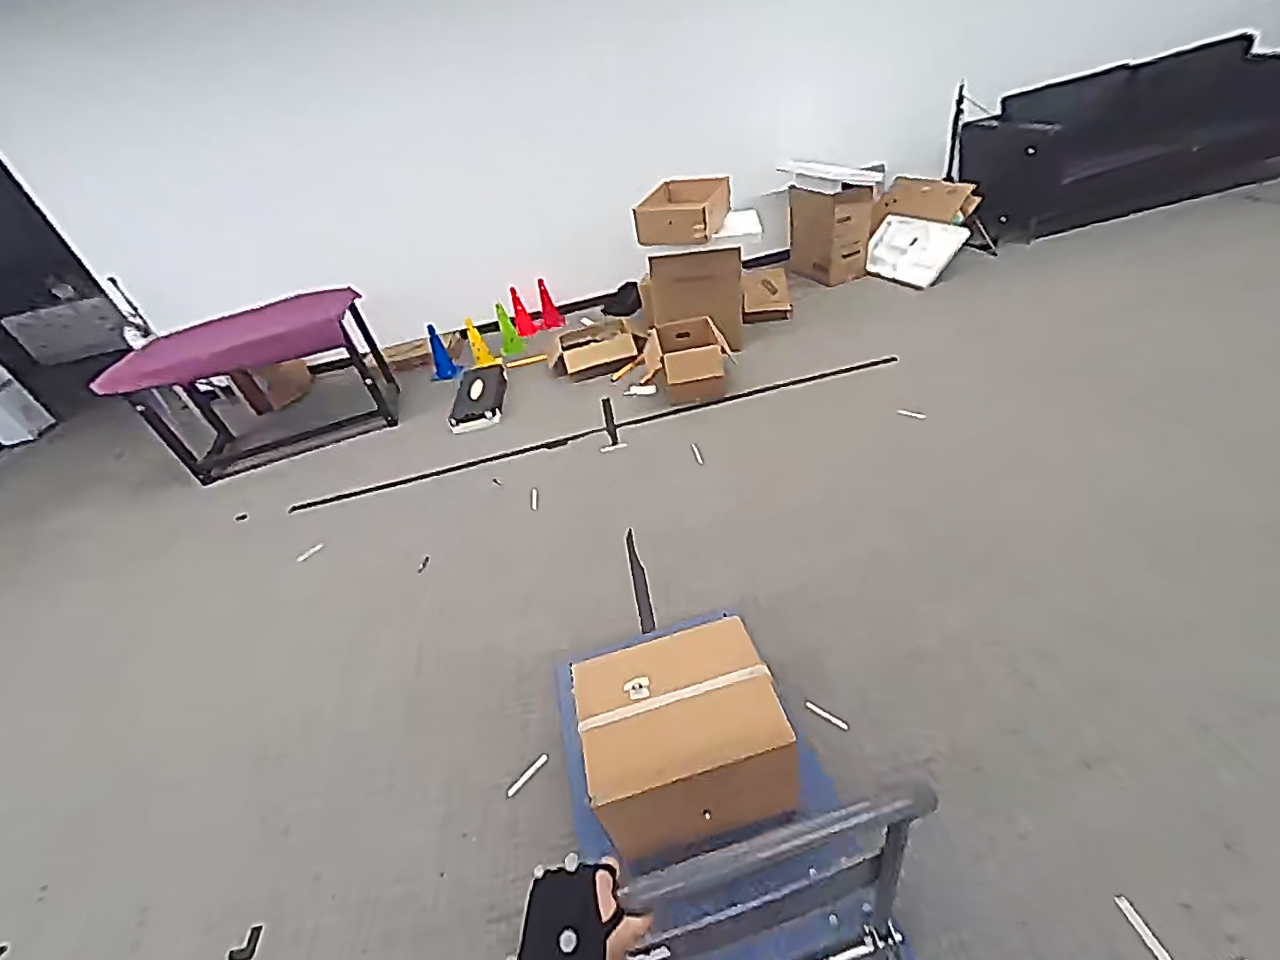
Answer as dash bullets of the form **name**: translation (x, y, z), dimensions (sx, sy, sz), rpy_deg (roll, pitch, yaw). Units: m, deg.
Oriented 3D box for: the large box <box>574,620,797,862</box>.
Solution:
- **large box**: translation (0.101, 0.584, 1.222), dimensions (0.408, 0.320, 0.320), rpy_deg (-17, 36, -3)
